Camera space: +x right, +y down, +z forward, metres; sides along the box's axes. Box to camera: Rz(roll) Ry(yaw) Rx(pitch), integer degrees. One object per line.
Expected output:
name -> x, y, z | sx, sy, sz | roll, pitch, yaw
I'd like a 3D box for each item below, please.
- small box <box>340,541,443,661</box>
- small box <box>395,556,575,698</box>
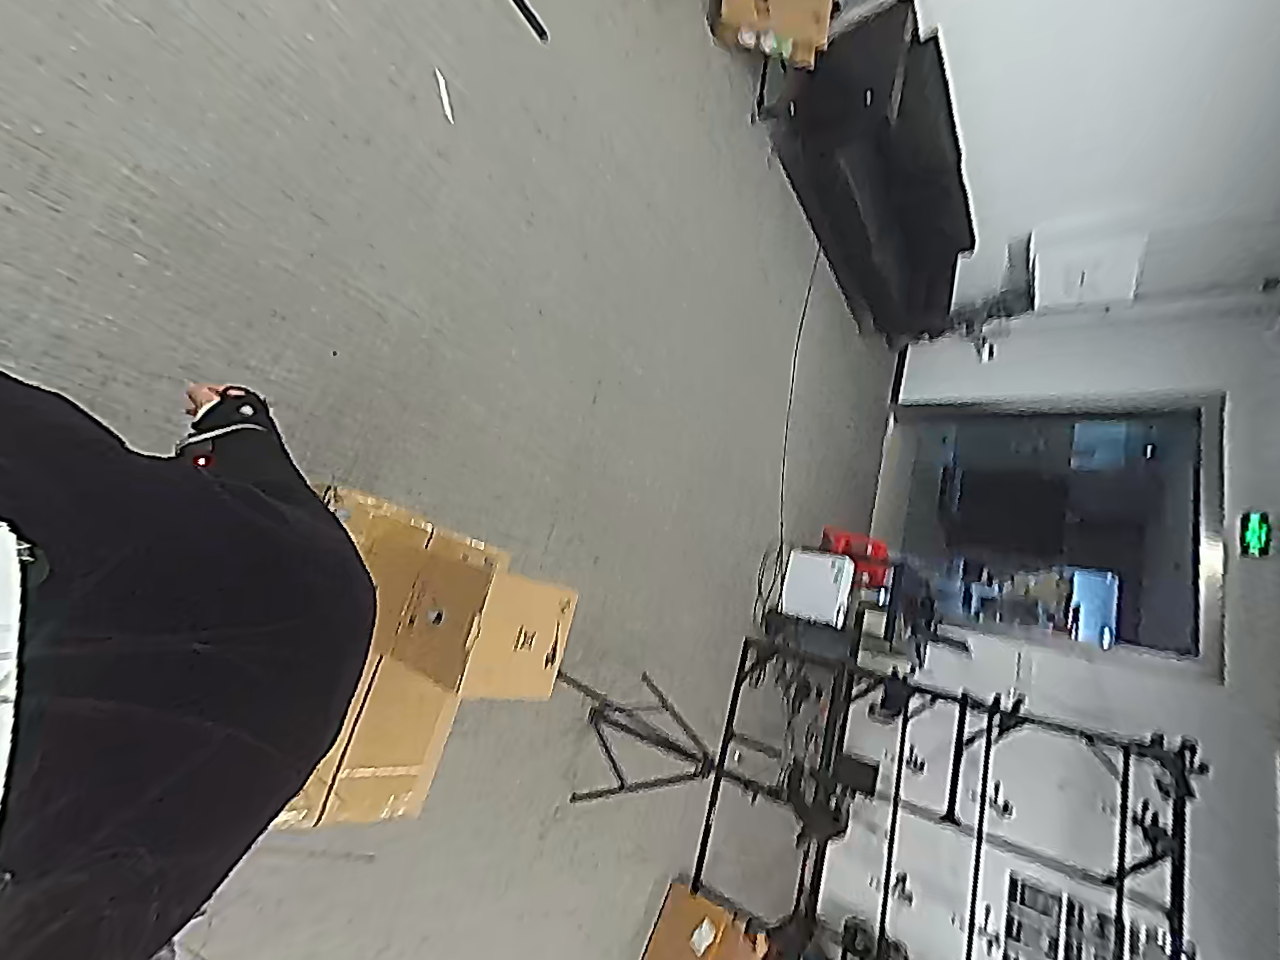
small box -> -0.363, 0.209, 0.915 | 0.179, 0.176, 0.168 | 32, 69, -48
small box -> -0.233, 0.218, 0.815 | 0.179, 0.176, 0.168 | 29, 71, -48
